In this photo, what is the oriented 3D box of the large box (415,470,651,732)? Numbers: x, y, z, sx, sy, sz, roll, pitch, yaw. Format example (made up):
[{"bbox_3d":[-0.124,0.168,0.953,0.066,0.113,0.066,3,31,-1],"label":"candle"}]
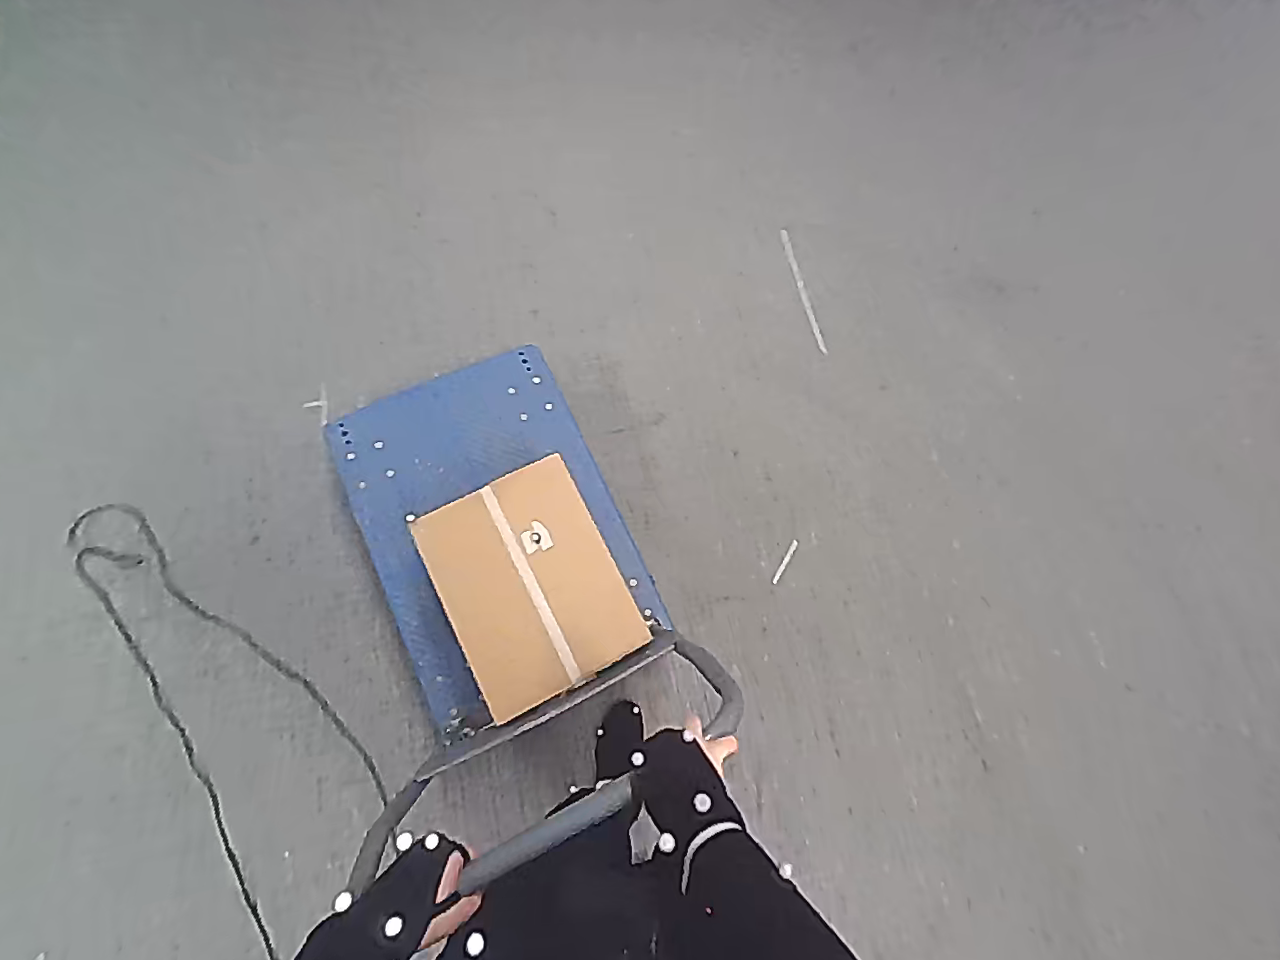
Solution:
[{"bbox_3d":[-0.212,0.252,1.164,0.320,0.320,0.408,-26,79,-11],"label":"large box"}]
